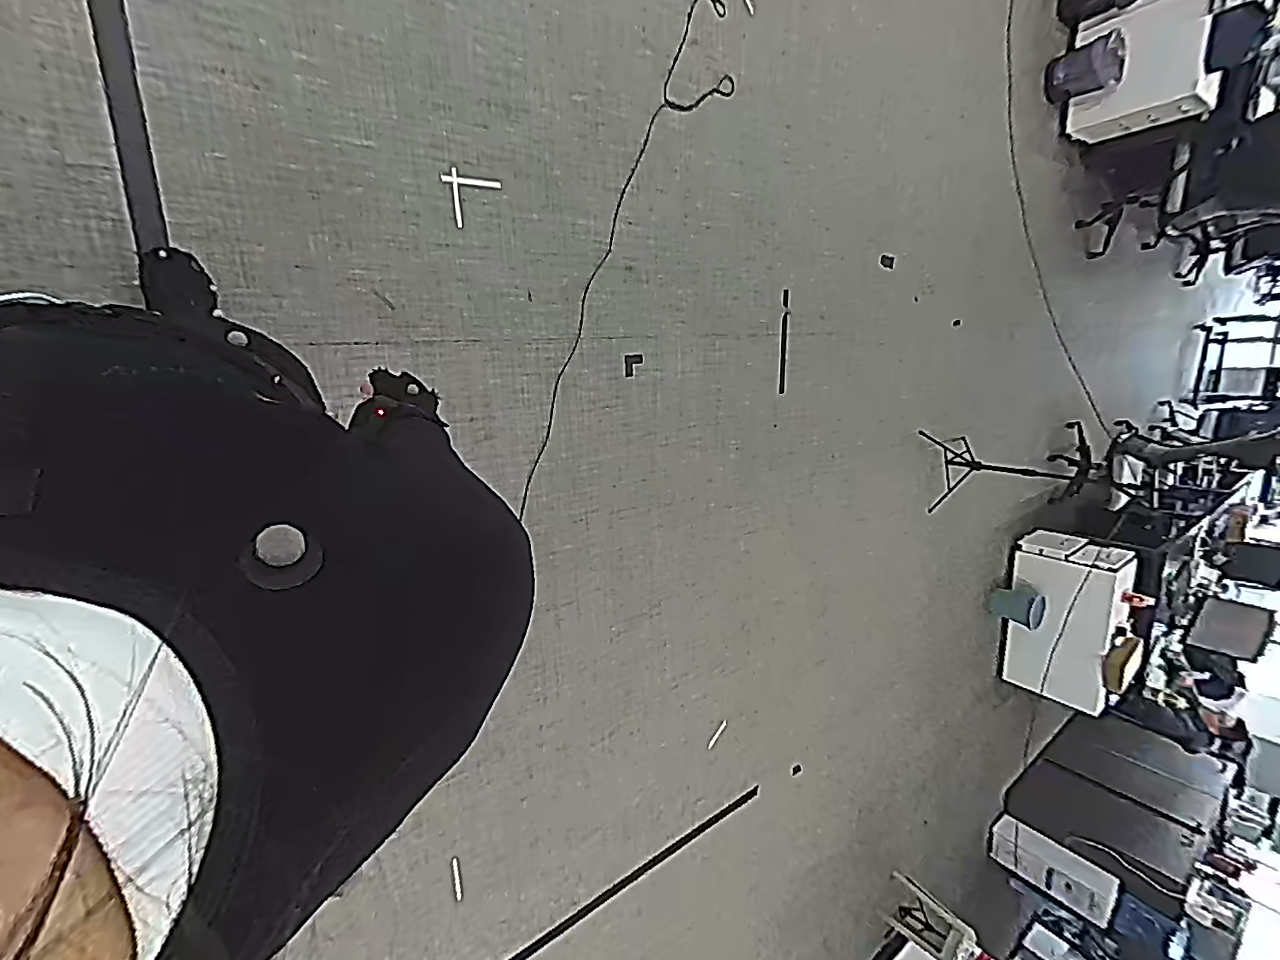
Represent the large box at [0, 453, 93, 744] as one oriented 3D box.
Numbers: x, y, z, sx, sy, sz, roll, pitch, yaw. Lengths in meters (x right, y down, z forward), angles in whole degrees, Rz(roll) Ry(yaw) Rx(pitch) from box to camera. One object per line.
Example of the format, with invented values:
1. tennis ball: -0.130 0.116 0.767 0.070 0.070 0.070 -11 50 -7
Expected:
1. large box: -0.891 0.114 0.580 0.320 0.408 0.320 -28 139 -33
